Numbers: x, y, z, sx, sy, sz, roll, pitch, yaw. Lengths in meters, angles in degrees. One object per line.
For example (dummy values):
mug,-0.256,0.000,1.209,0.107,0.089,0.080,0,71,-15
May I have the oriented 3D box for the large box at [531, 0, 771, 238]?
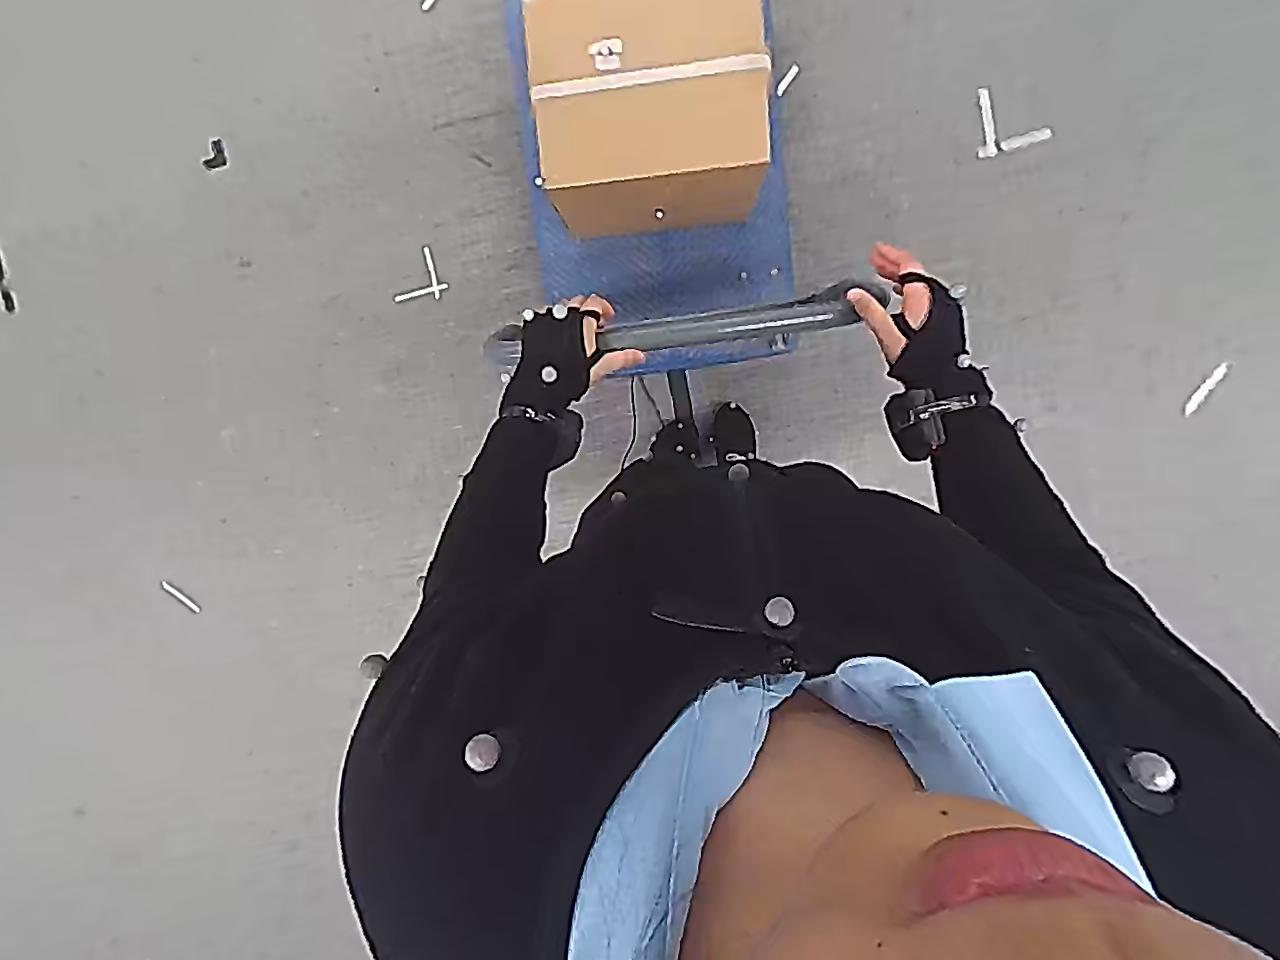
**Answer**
large box,0.032,-0.713,1.090,0.408,0.320,0.320,-4,97,5
